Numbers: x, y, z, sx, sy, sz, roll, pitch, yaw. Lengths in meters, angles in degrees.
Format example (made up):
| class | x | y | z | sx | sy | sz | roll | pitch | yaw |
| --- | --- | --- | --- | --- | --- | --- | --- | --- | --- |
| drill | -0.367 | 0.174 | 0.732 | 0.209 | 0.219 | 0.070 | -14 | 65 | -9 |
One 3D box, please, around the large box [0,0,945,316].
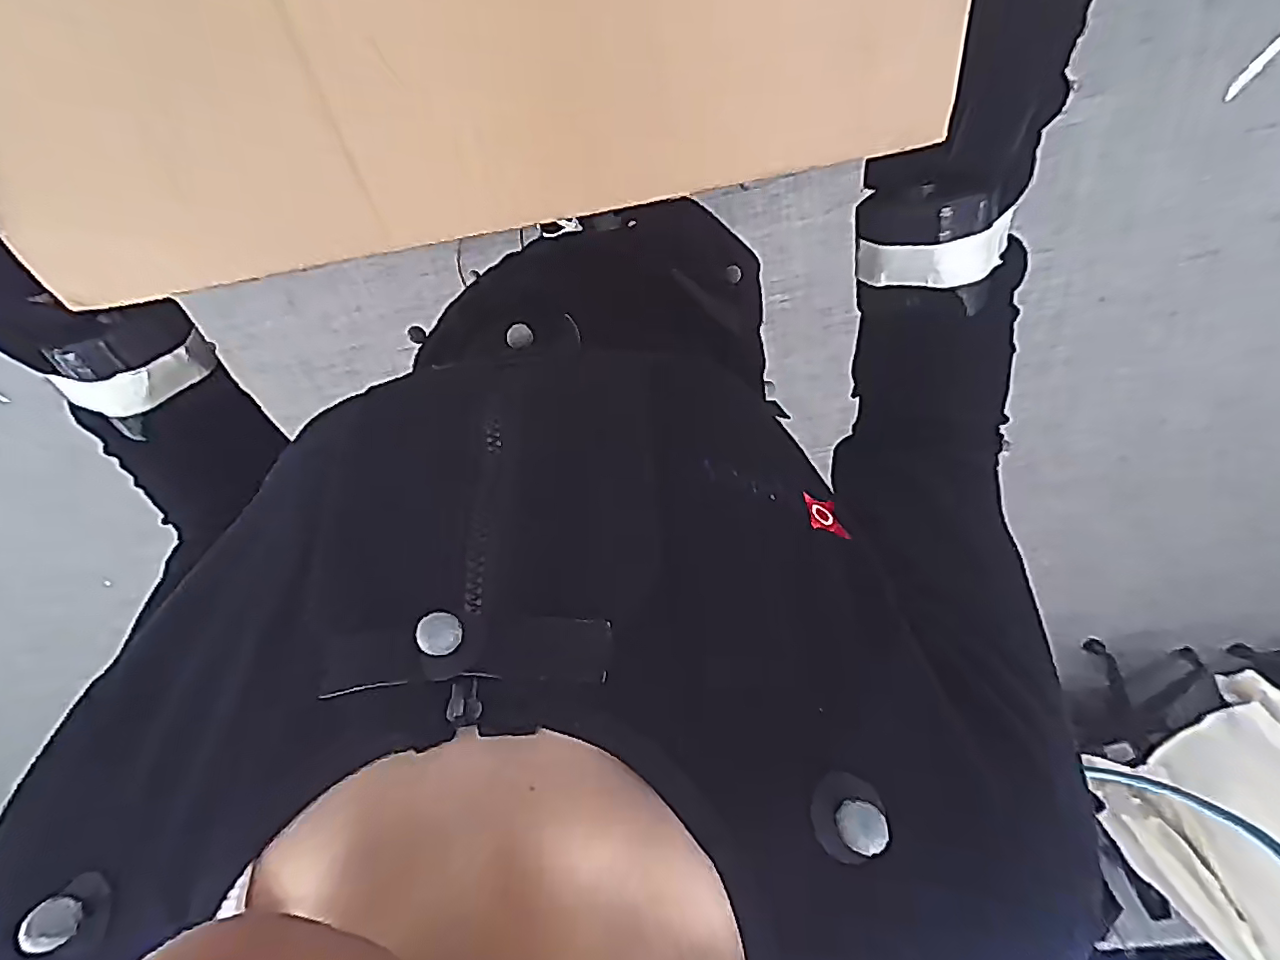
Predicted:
| class | x | y | z | sx | sy | sz | roll | pitch | yaw |
| --- | --- | --- | --- | --- | --- | --- | --- | --- | --- |
| large box | -0.101 | -0.323 | 0.266 | 0.408 | 0.320 | 0.320 | -8 | 130 | 5 |
